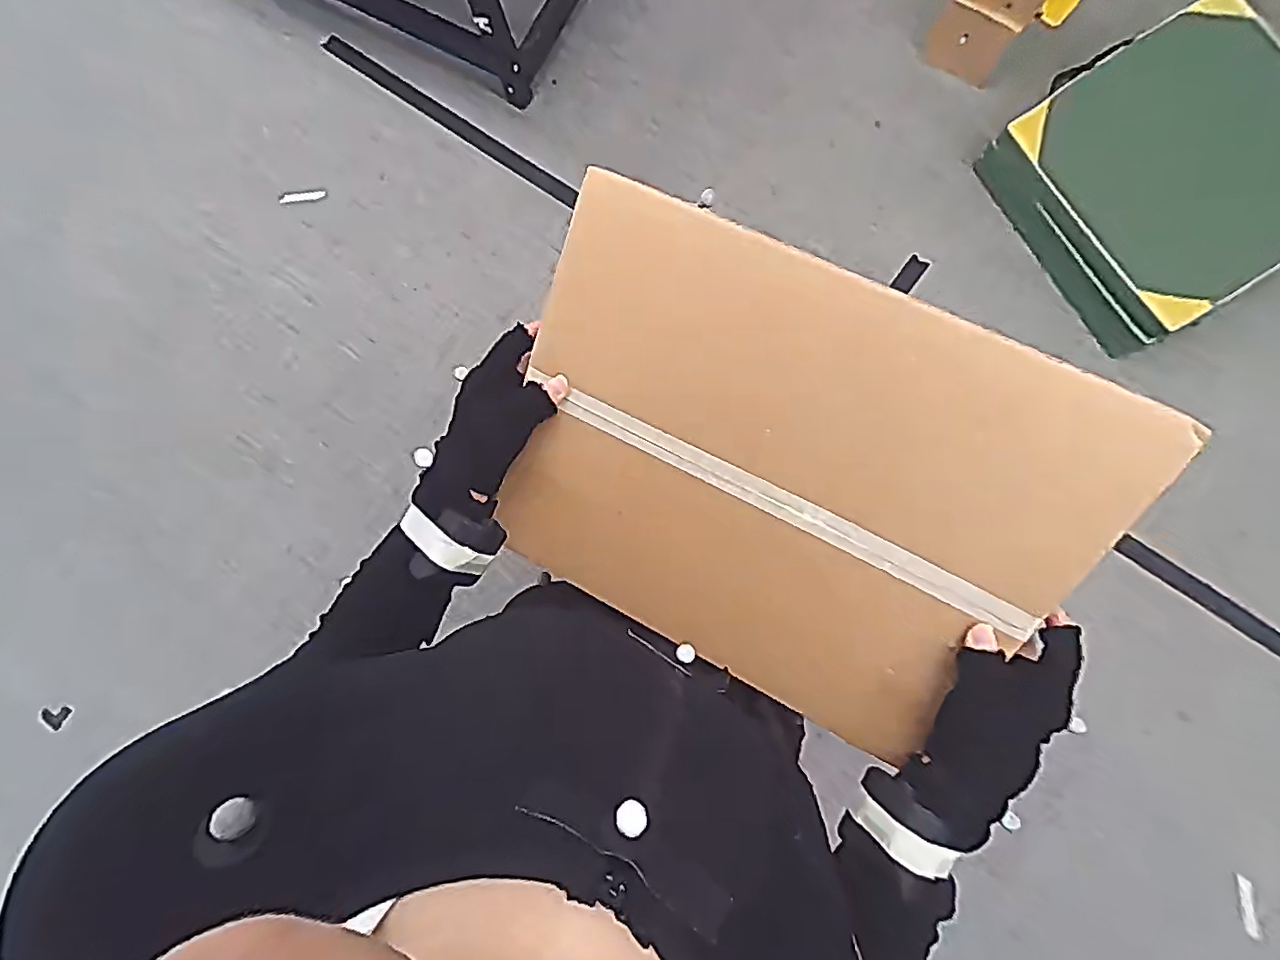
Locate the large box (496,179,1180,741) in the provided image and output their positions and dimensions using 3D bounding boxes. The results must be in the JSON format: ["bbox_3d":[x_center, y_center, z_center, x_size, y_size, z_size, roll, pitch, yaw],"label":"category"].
[{"bbox_3d":[0.137,-0.046,0.542,0.408,0.320,0.320,28,116,9],"label":"large box"}]
